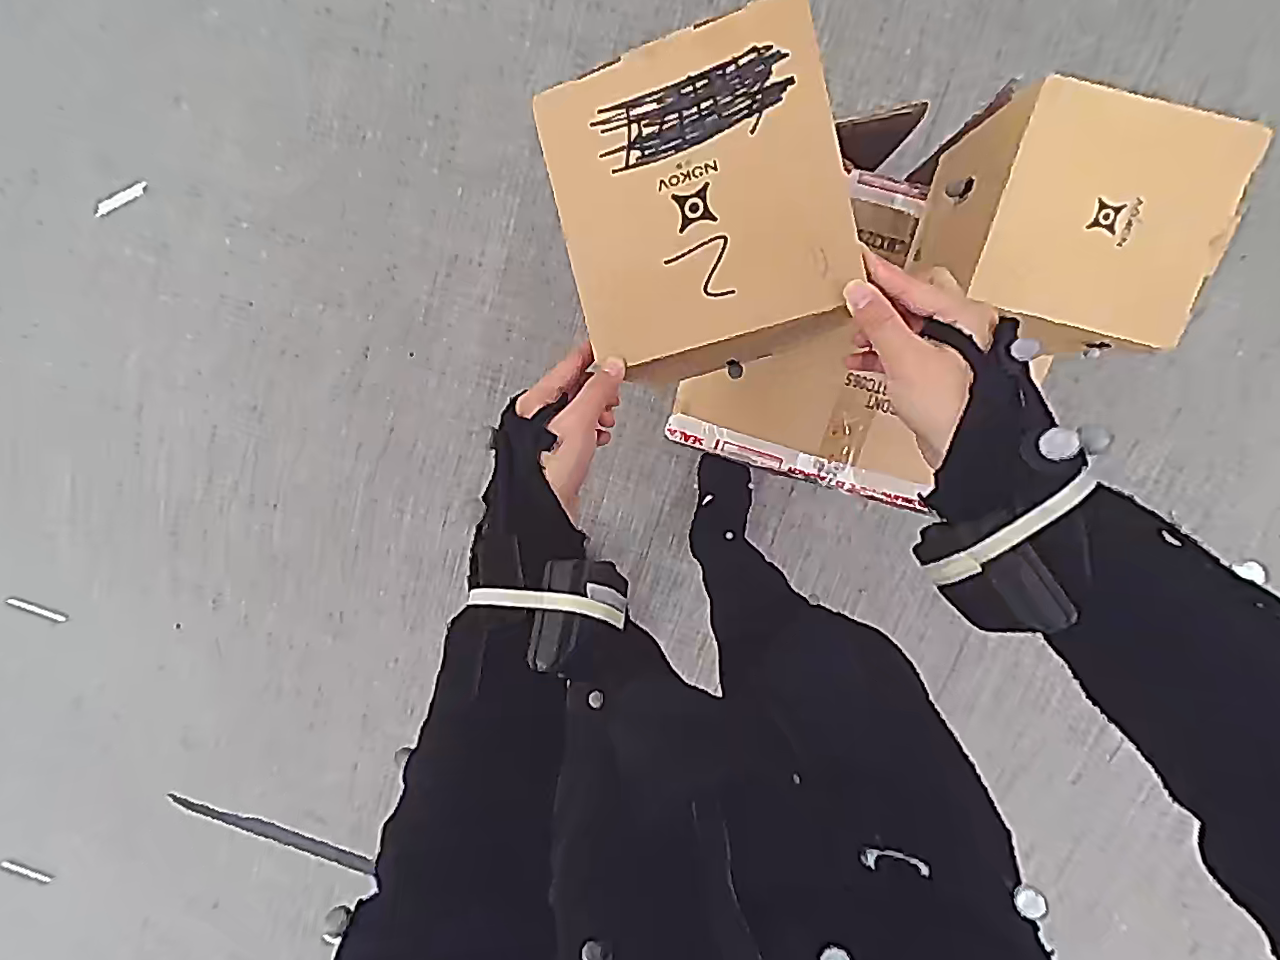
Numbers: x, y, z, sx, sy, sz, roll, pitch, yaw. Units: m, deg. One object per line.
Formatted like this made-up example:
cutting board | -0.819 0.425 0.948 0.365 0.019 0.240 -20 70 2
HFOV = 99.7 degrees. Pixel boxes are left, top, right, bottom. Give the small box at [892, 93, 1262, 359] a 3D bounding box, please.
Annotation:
small box | 0.366 -0.209 0.498 0.179 0.176 0.168 14 103 0
